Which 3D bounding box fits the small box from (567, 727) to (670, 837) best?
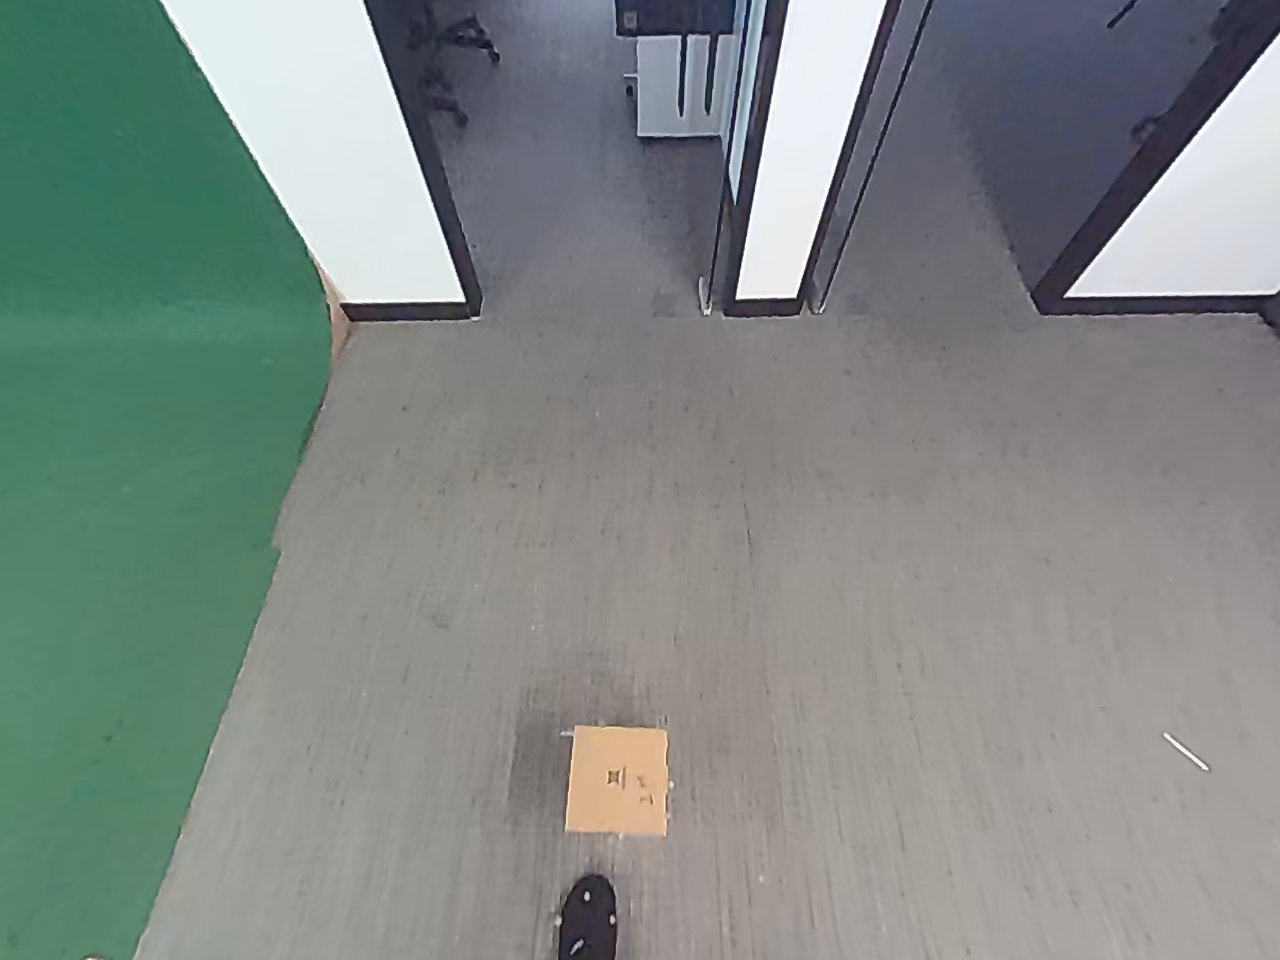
[{"bbox_3d":[-0.032,0.572,1.023,0.179,0.176,0.168,2,59,2],"label":"small box"}]
